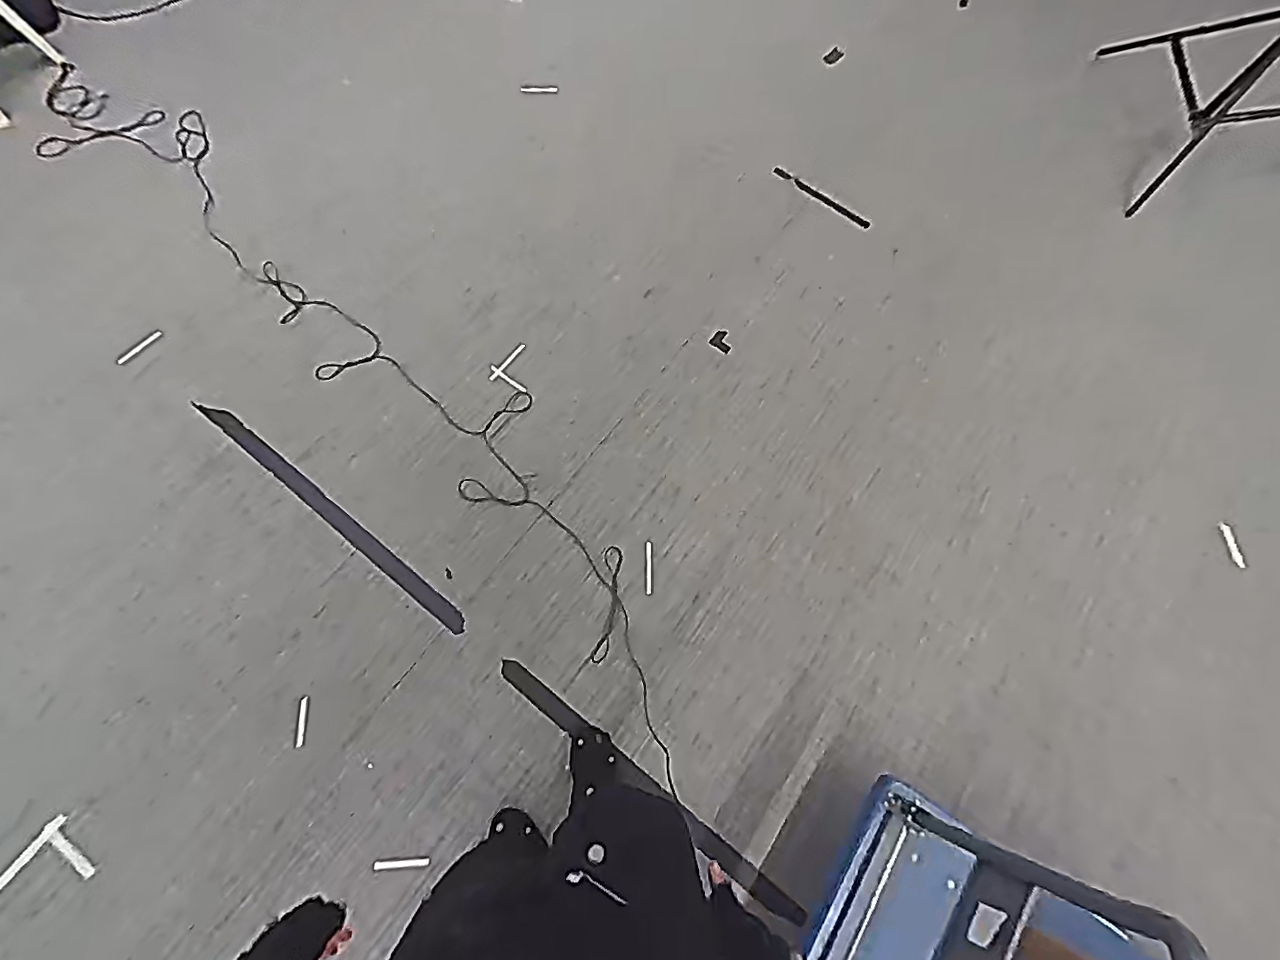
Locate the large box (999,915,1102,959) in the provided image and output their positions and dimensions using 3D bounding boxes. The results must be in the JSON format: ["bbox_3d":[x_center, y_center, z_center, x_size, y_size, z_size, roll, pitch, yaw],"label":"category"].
[{"bbox_3d":[0.773,1.023,0.837,0.320,0.320,0.408,27,72,8],"label":"large box"}]
